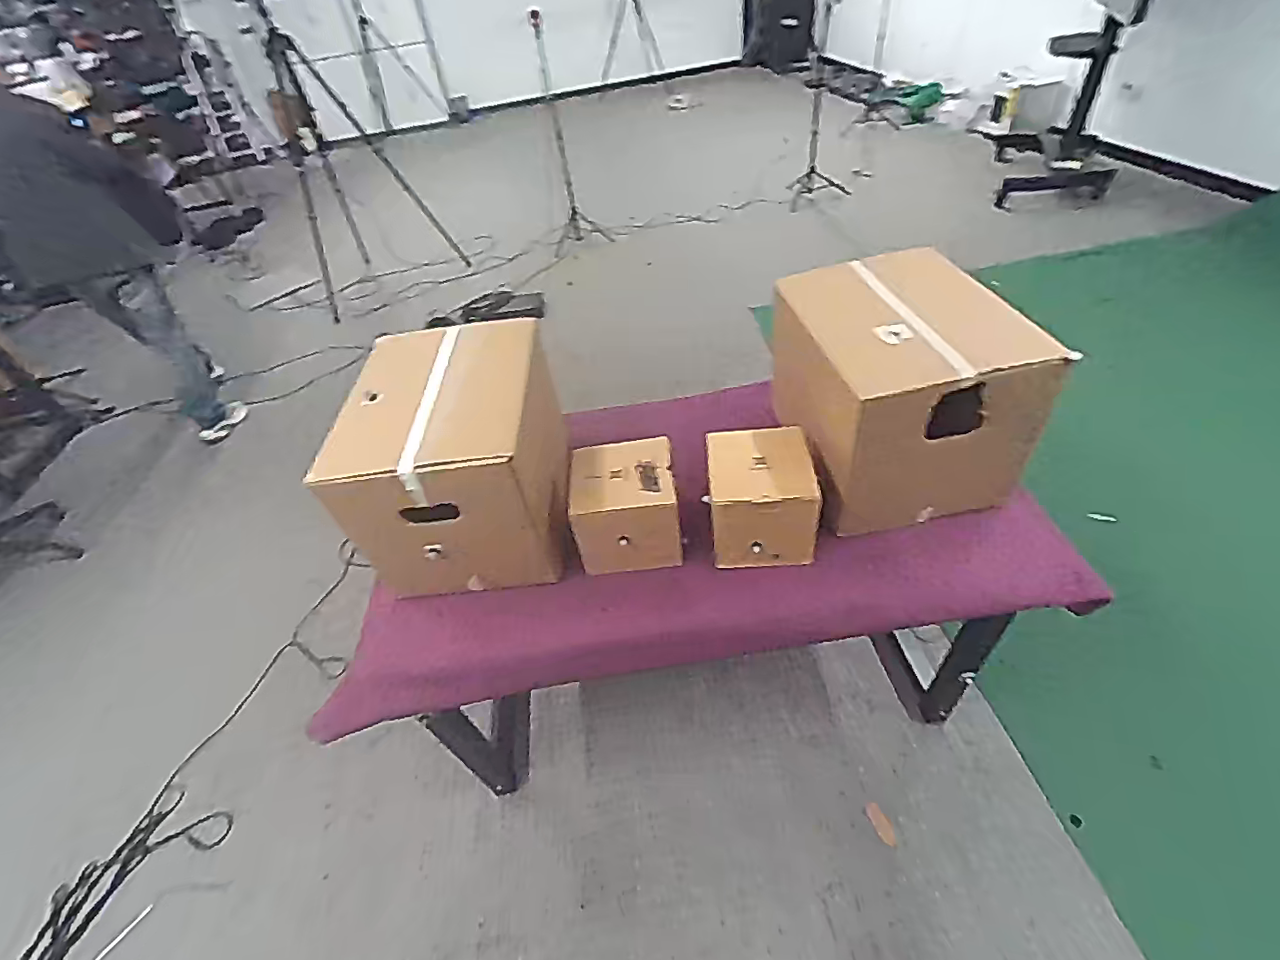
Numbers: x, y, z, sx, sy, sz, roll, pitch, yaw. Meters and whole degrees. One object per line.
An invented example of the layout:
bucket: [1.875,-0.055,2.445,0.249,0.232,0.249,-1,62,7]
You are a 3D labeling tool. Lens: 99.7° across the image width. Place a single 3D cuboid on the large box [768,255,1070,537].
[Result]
large box: [0.451,-0.164,1.005,0.320,0.320,0.408,-12,45,1]
